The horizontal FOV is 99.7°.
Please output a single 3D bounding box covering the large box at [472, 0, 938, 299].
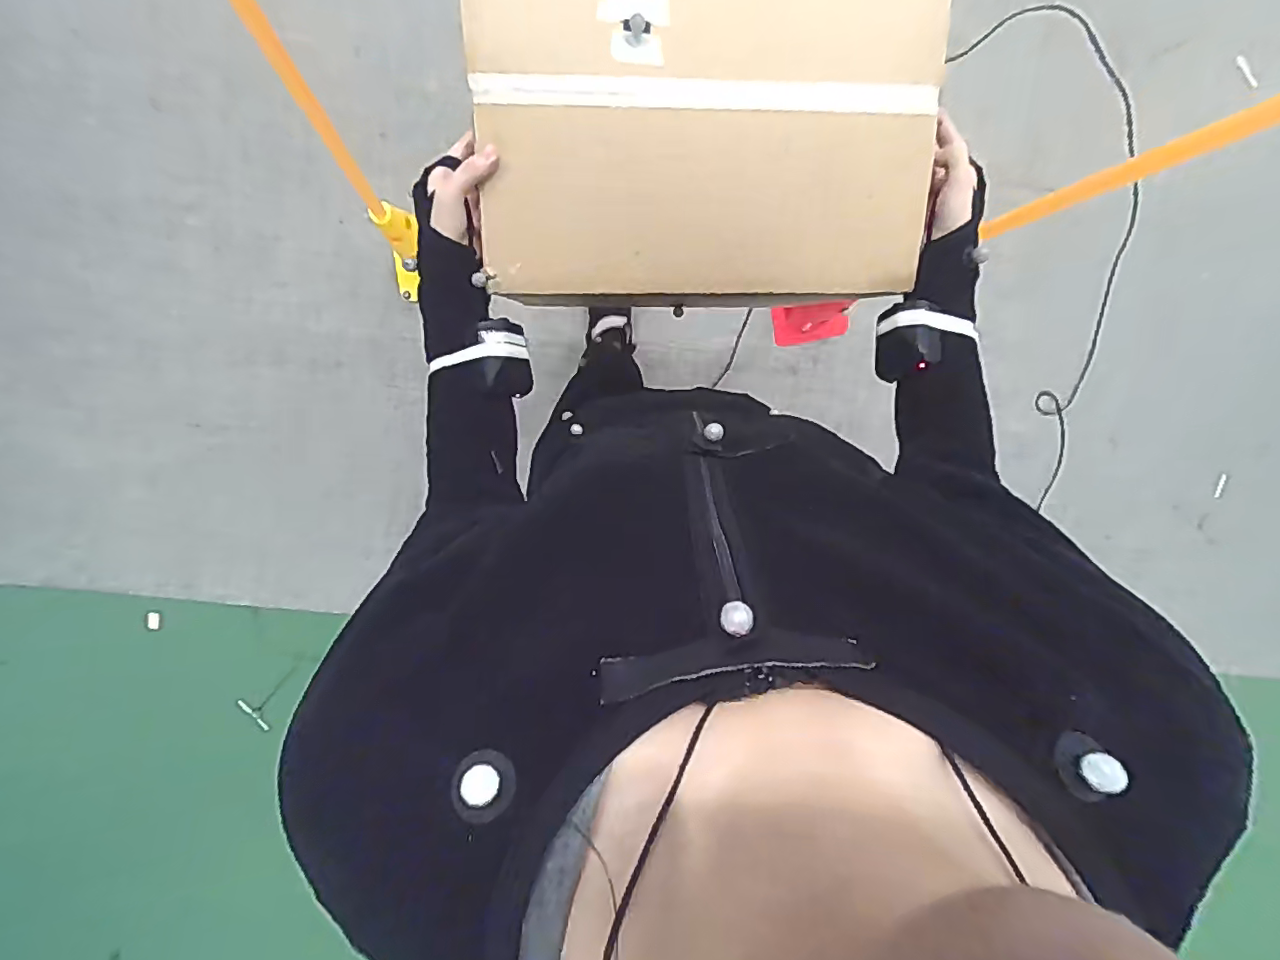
[{"bbox_3d":[0.050,-0.376,0.617,0.408,0.320,0.320,-2,105,-4],"label":"large box"}]
